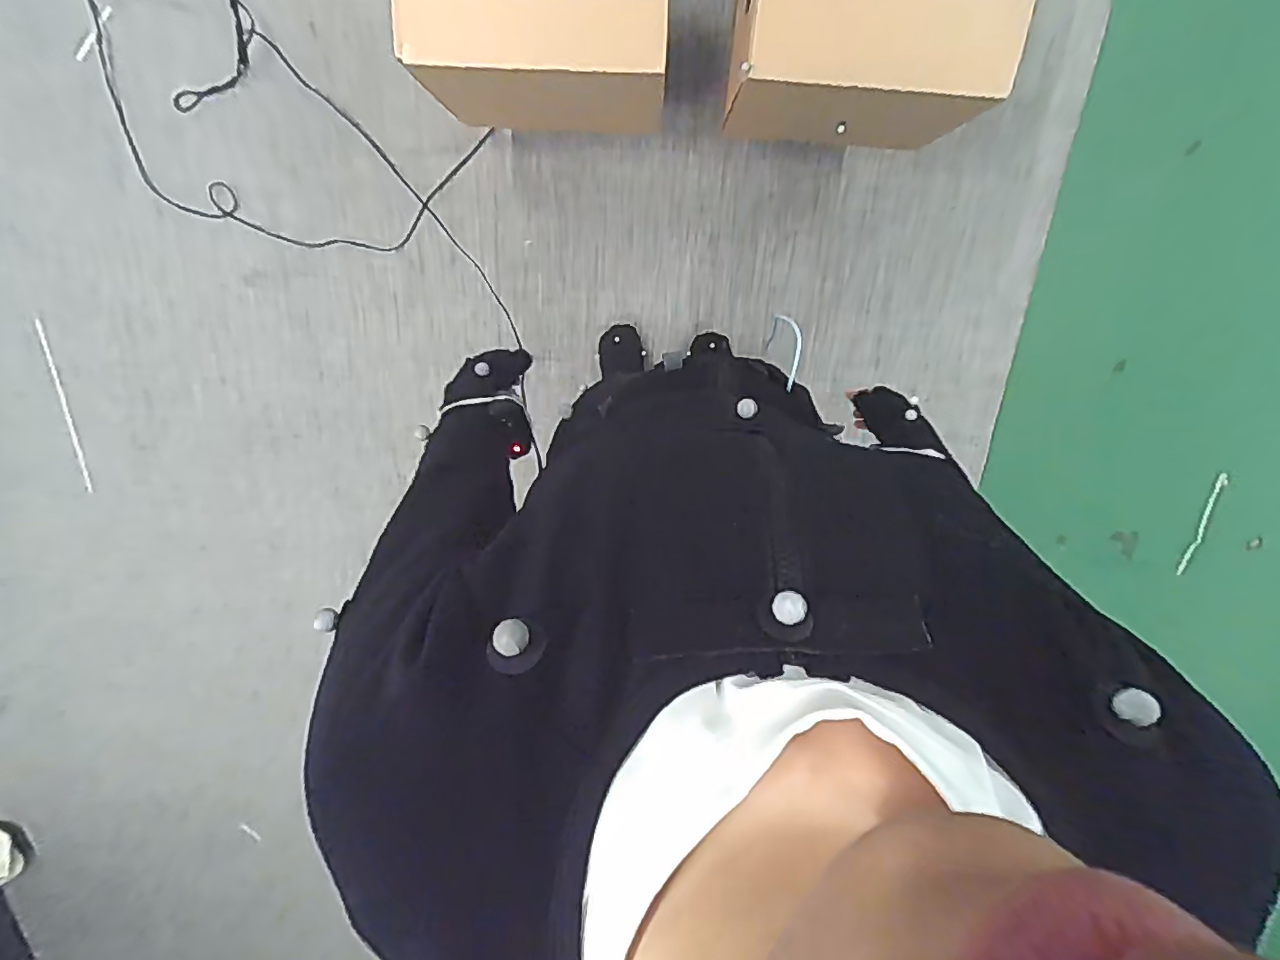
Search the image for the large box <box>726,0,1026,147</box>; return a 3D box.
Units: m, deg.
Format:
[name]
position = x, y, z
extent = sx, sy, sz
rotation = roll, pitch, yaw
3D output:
[large box]
position = 0.381, -0.793, 0.931
extent = 0.408, 0.320, 0.320
rotation = 5, 108, 0
